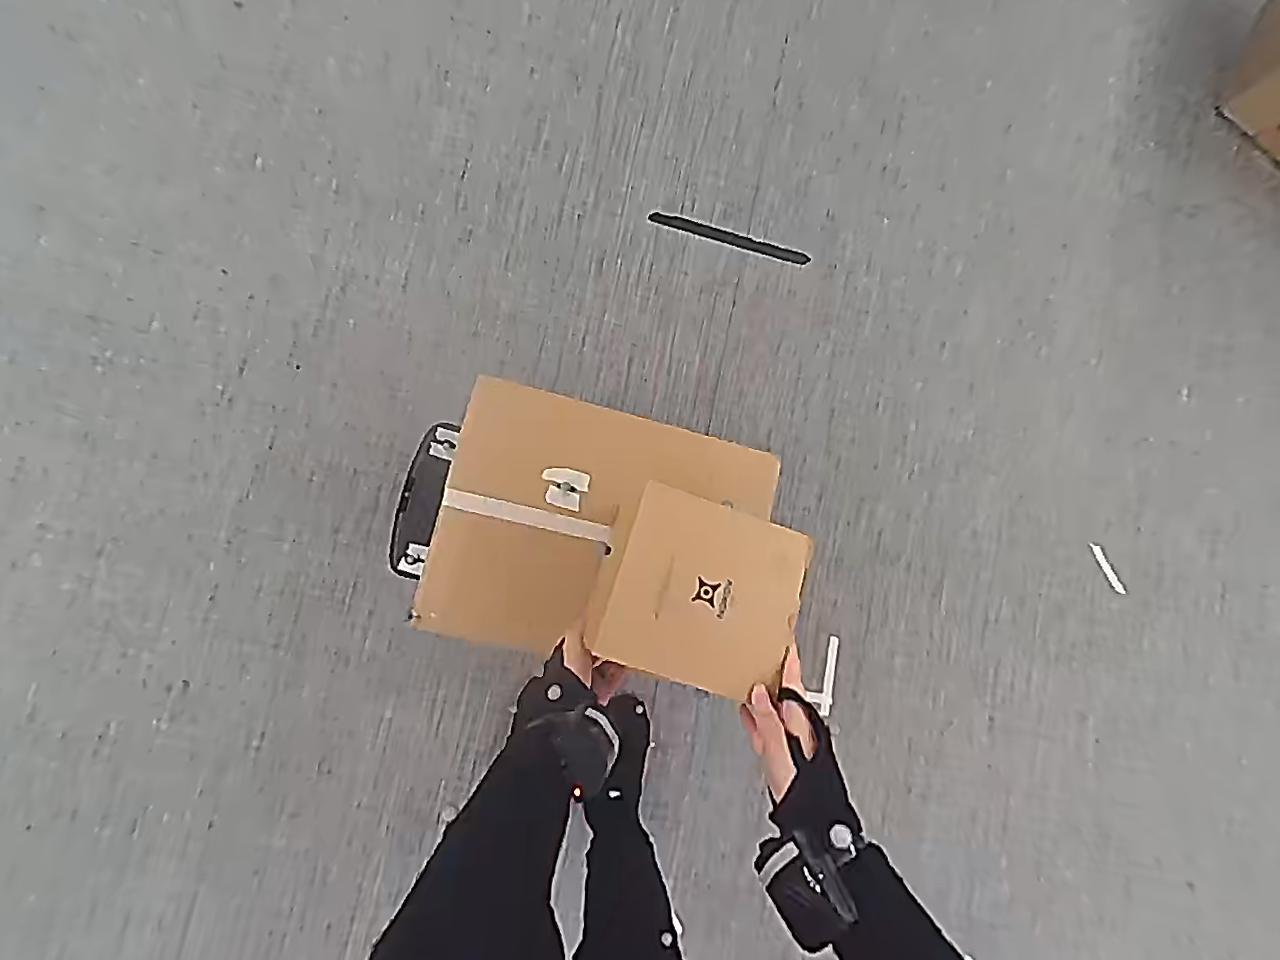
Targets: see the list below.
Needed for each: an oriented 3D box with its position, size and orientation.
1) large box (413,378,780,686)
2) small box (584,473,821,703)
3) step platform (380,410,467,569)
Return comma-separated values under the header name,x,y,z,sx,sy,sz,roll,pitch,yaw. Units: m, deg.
name,x,y,z,sx,sy,sz,roll,pitch,yaw
large box,-0.059,0.078,0.810,0.408,0.320,0.320,14,83,-7
small box,0.053,0.109,0.564,0.179,0.176,0.168,20,76,-7
step platform,-0.117,0.109,1.040,0.684,0.204,0.286,20,83,-6
